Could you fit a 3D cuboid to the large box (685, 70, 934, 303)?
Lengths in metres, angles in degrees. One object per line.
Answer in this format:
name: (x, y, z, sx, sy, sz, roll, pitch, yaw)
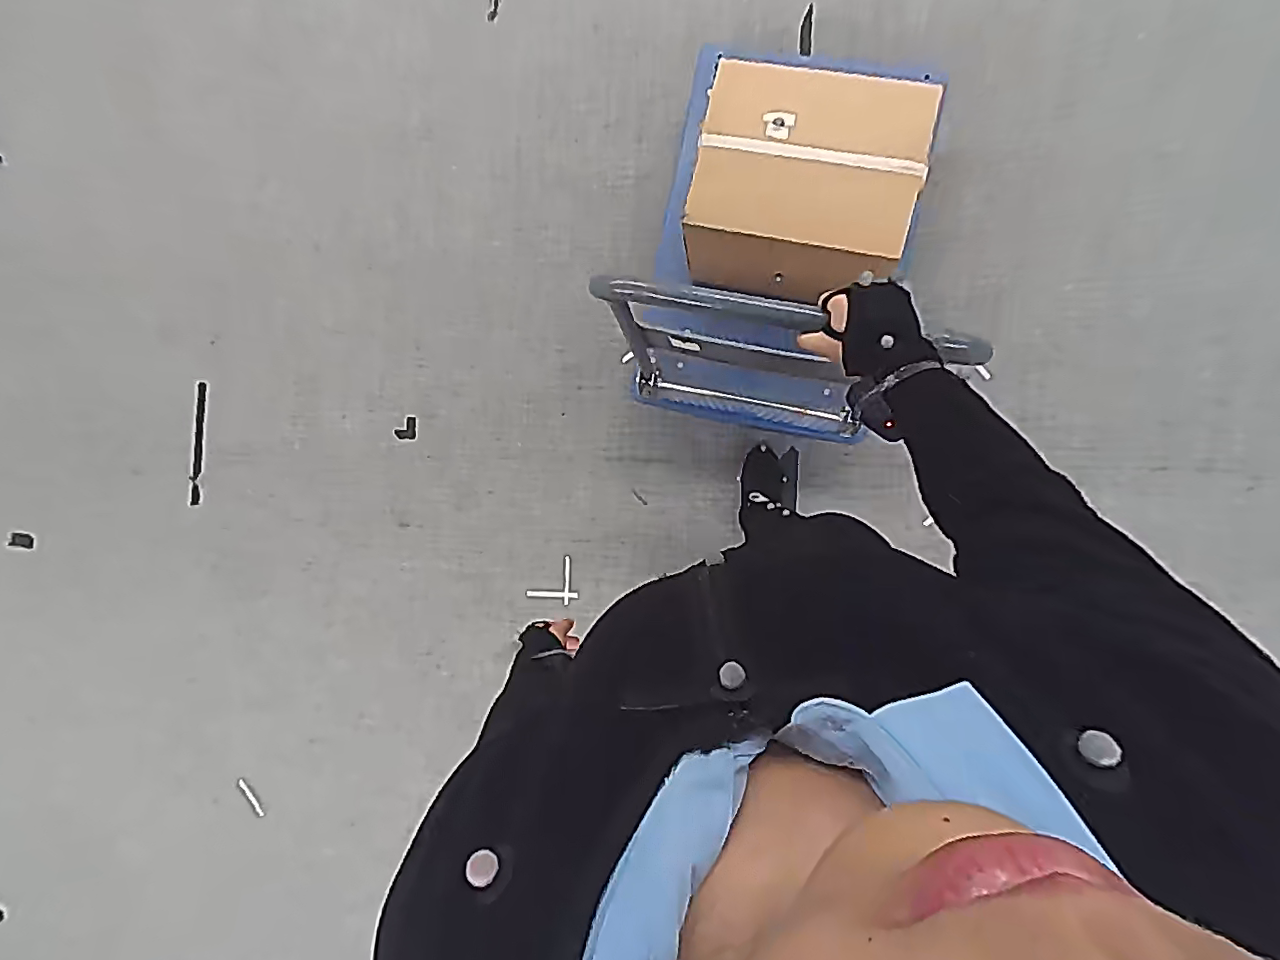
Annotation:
large box: (0.335, -0.598, 1.151, 0.408, 0.320, 0.320, 13, 91, 10)
